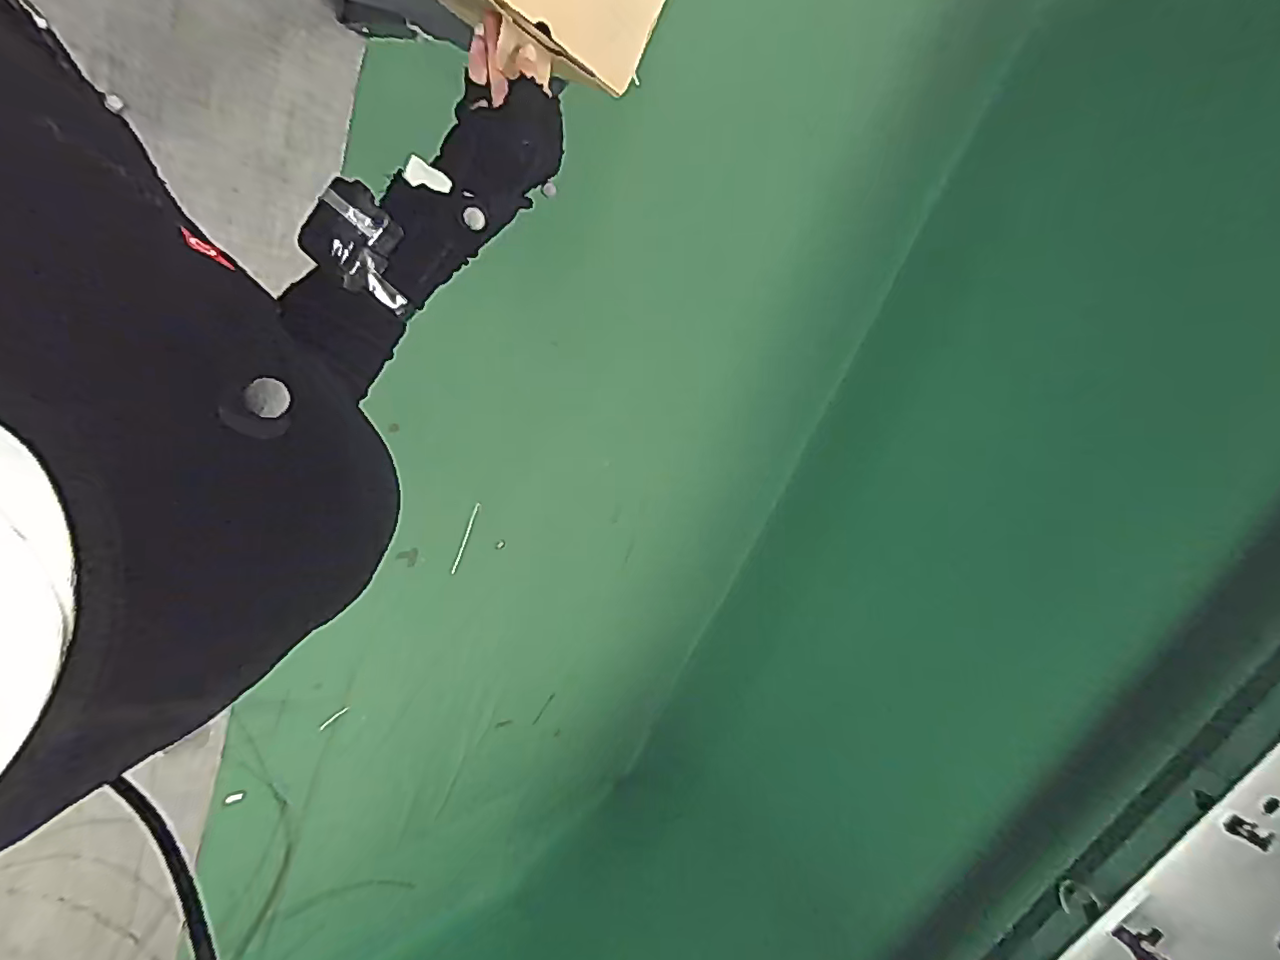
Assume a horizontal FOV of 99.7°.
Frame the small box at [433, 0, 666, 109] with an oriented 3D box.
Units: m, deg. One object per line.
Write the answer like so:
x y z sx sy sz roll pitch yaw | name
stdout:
-0.080 -0.429 0.404 0.168 0.176 0.179 2 126 -48 | small box
